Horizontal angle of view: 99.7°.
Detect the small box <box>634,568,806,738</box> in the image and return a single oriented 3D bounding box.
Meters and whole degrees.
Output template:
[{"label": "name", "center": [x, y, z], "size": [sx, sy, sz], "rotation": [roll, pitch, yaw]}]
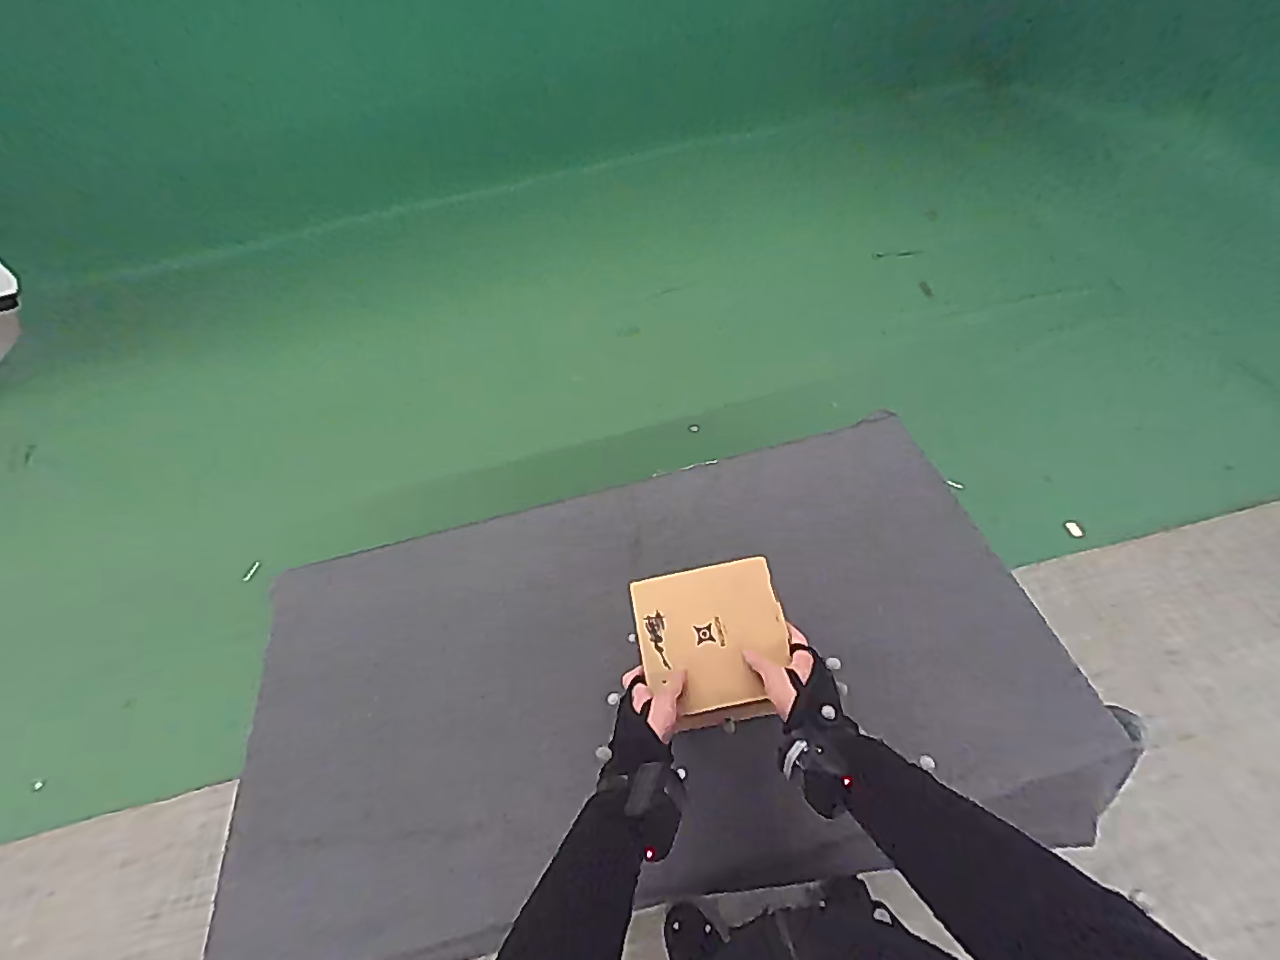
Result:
[{"label": "small box", "center": [0.095, 0.232, 0.708], "size": [0.179, 0.176, 0.168], "rotation": [-11, 60, 1]}]
